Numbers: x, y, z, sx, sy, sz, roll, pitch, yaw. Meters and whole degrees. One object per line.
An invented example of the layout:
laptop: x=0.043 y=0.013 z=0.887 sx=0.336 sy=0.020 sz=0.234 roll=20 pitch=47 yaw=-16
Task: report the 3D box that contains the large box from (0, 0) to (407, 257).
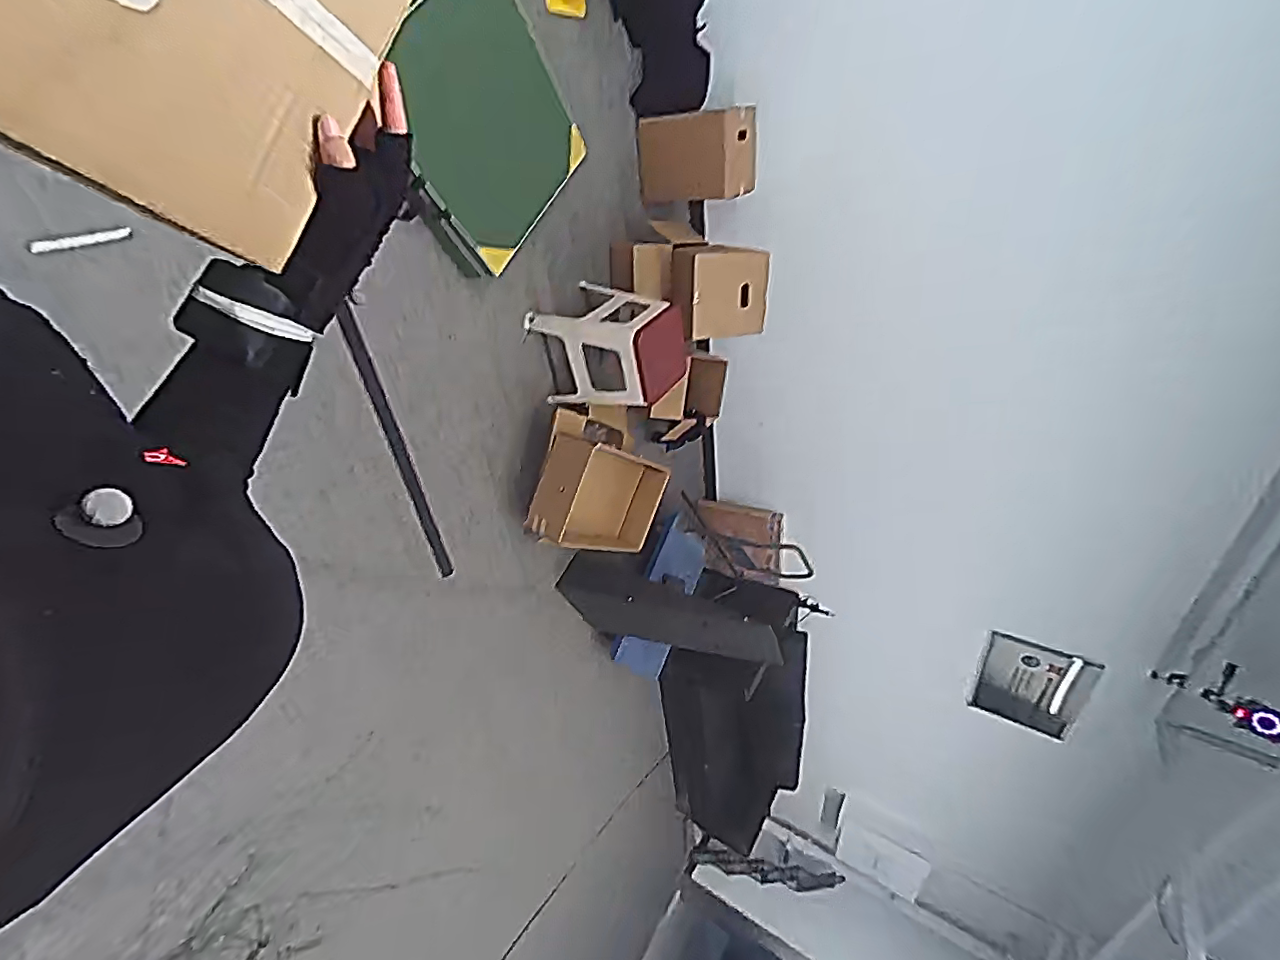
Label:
large box: x=-0.413 y=-0.398 z=0.325 sx=0.408 sy=0.320 sz=0.320 roll=25 pitch=92 yaw=-54
